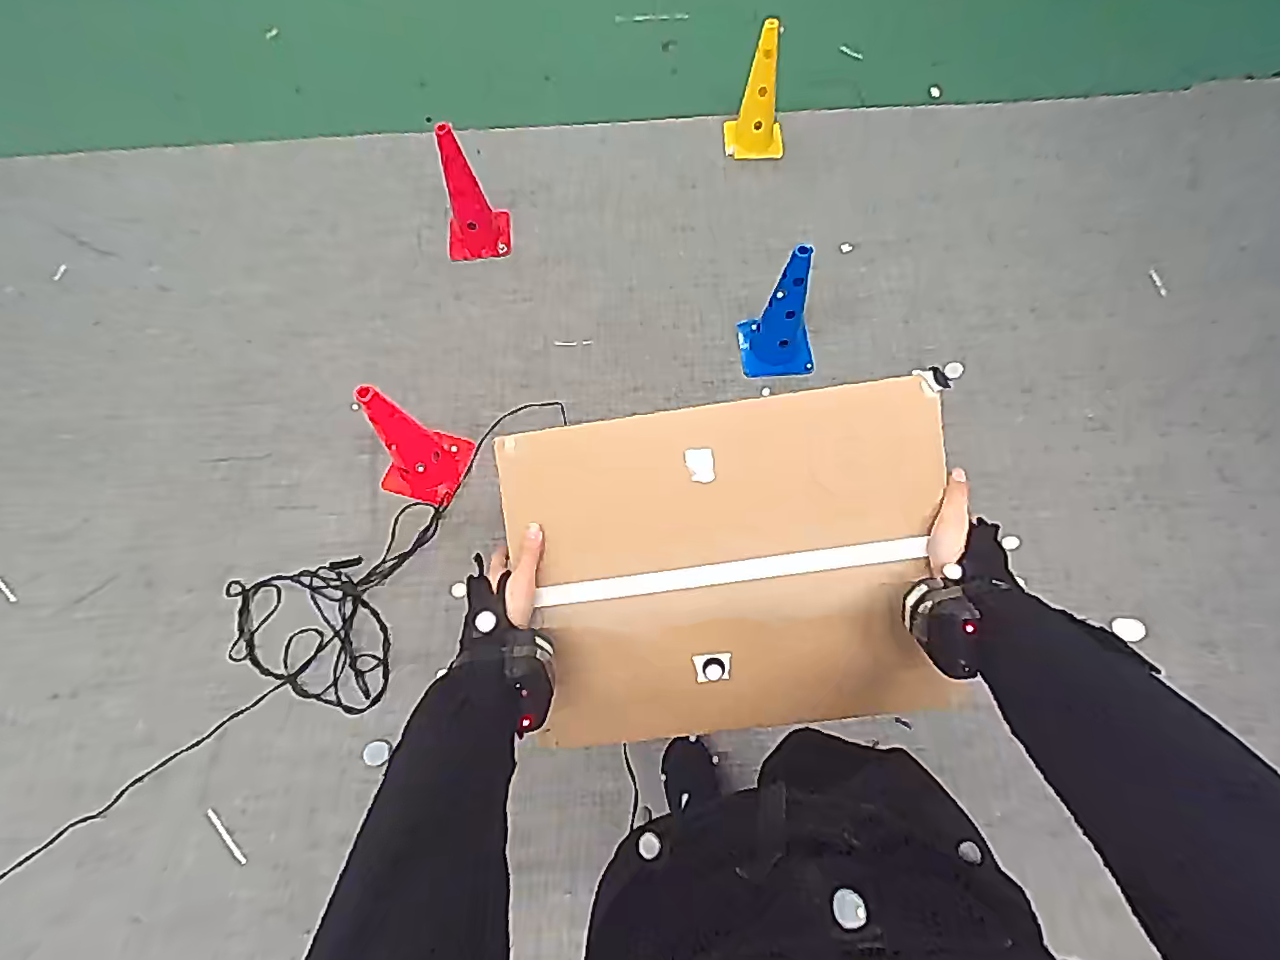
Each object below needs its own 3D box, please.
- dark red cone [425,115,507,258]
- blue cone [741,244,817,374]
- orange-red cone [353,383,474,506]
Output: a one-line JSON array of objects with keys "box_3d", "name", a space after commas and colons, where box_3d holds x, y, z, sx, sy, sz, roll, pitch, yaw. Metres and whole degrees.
[{"box_3d": [-0.540, -0.877, 1.616, 0.202, 0.394, 0.201, -9, 62, -1], "name": "dark red cone"}, {"box_3d": [0.387, -0.454, 1.415, 0.192, 0.380, 0.193, -2, 66, 1], "name": "blue cone"}, {"box_3d": [-0.574, -0.109, 1.286, 0.199, 0.360, 0.198, 15, 66, 11], "name": "orange-red cone"}]
